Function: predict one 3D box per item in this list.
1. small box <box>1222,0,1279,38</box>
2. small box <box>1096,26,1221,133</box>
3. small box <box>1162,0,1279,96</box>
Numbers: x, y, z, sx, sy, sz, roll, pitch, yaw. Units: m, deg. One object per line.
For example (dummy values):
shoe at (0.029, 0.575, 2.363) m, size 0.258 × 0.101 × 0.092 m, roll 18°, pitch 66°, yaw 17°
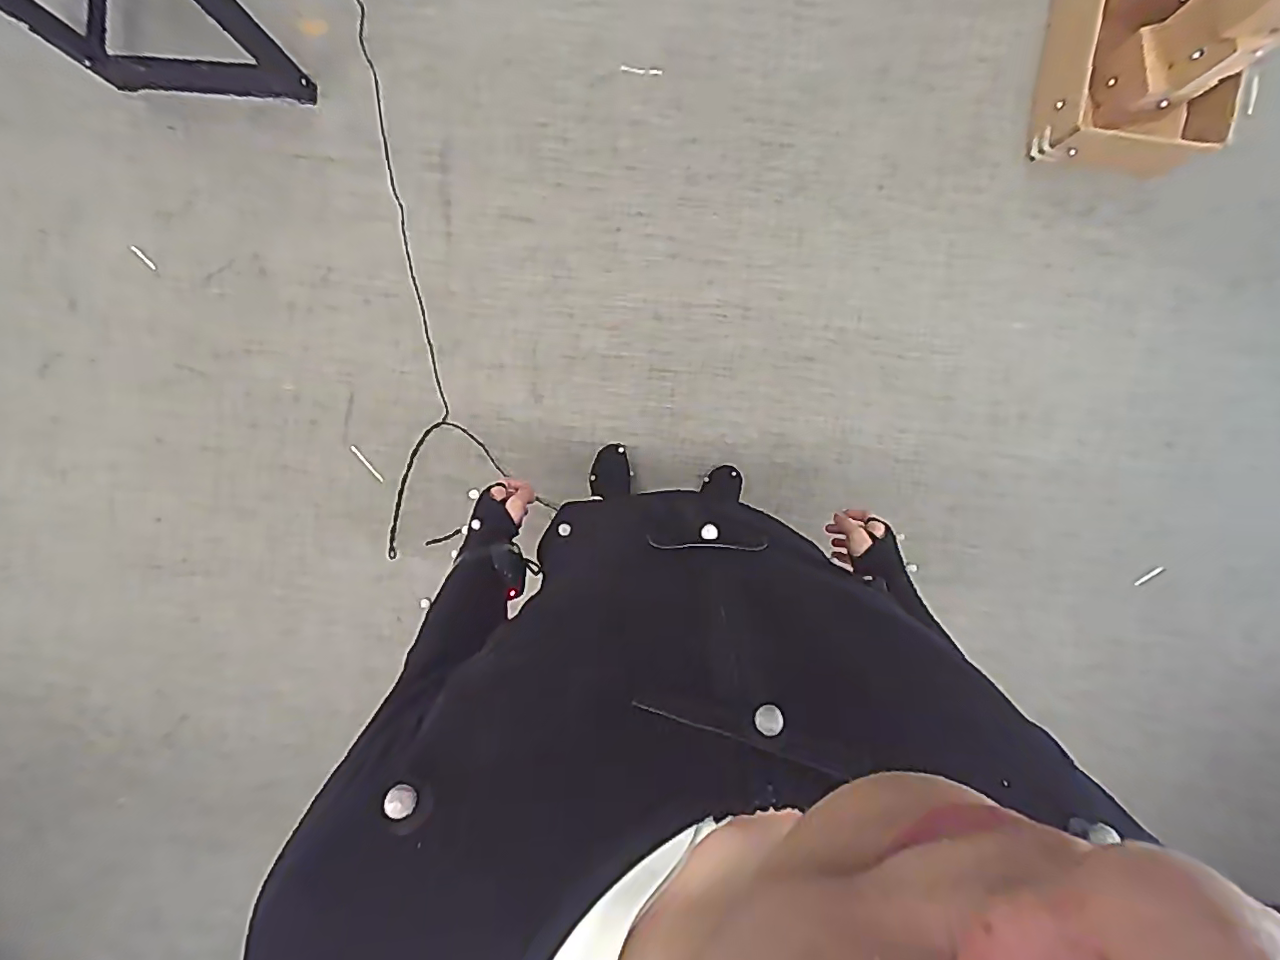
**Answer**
small box at (1.341, -1.033, 1.087) m, size 0.168 × 0.176 × 0.179 m, roll 0°, pitch 94°, yaw 1°
small box at (1.340, -1.044, 1.413) m, size 0.179 × 0.176 × 0.168 m, roll -9°, pitch 93°, yaw 1°
small box at (1.369, -1.038, 1.250) m, size 0.179 × 0.176 × 0.168 m, roll -19°, pitch 93°, yaw 1°
